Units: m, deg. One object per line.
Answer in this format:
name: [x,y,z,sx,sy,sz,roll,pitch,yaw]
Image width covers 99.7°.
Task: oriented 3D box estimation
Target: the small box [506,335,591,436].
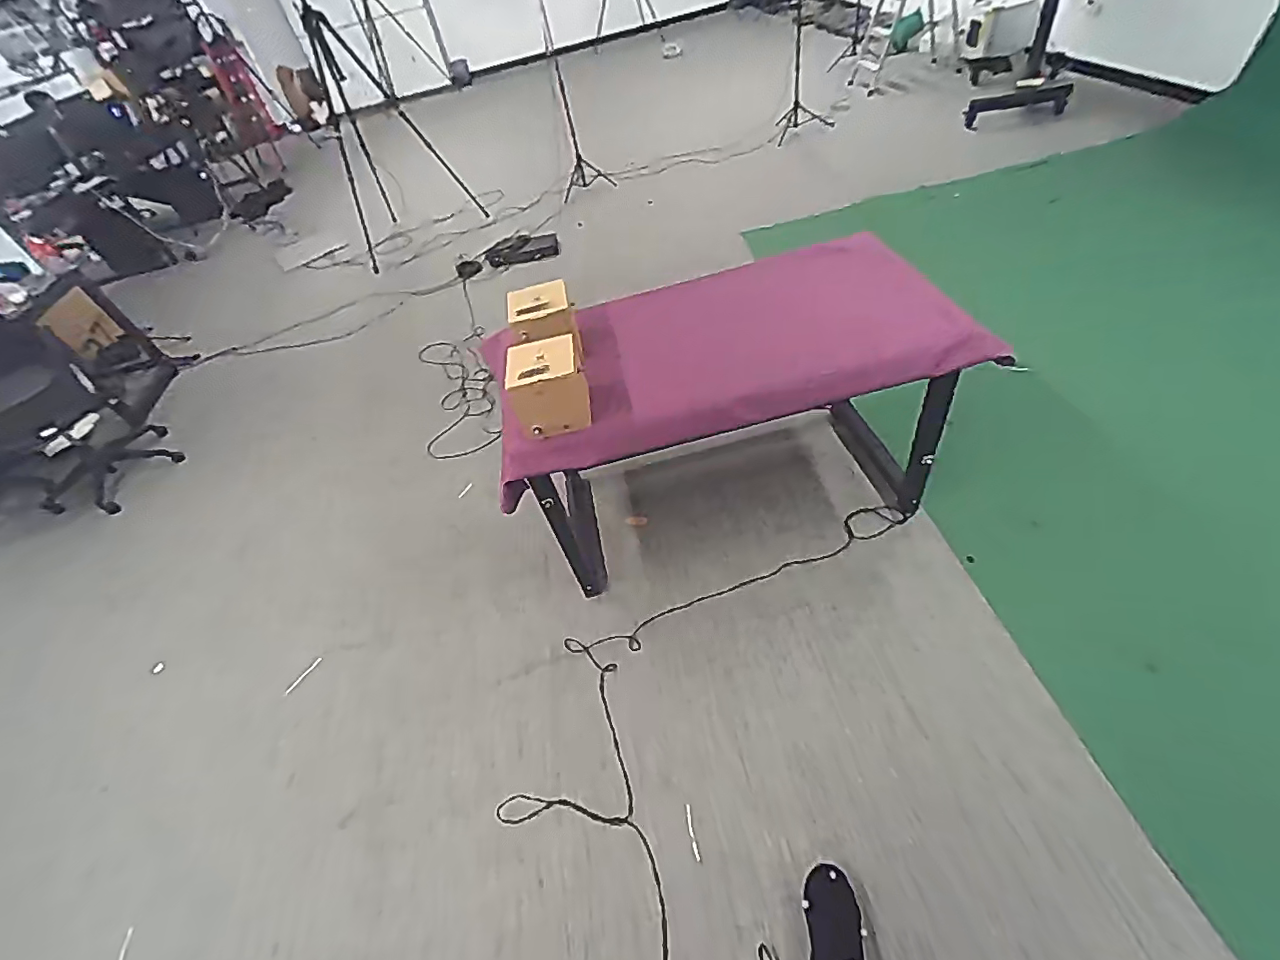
small box: [-0.220,-0.225,1.334,0.168,0.176,0.179,-12,45,2]
